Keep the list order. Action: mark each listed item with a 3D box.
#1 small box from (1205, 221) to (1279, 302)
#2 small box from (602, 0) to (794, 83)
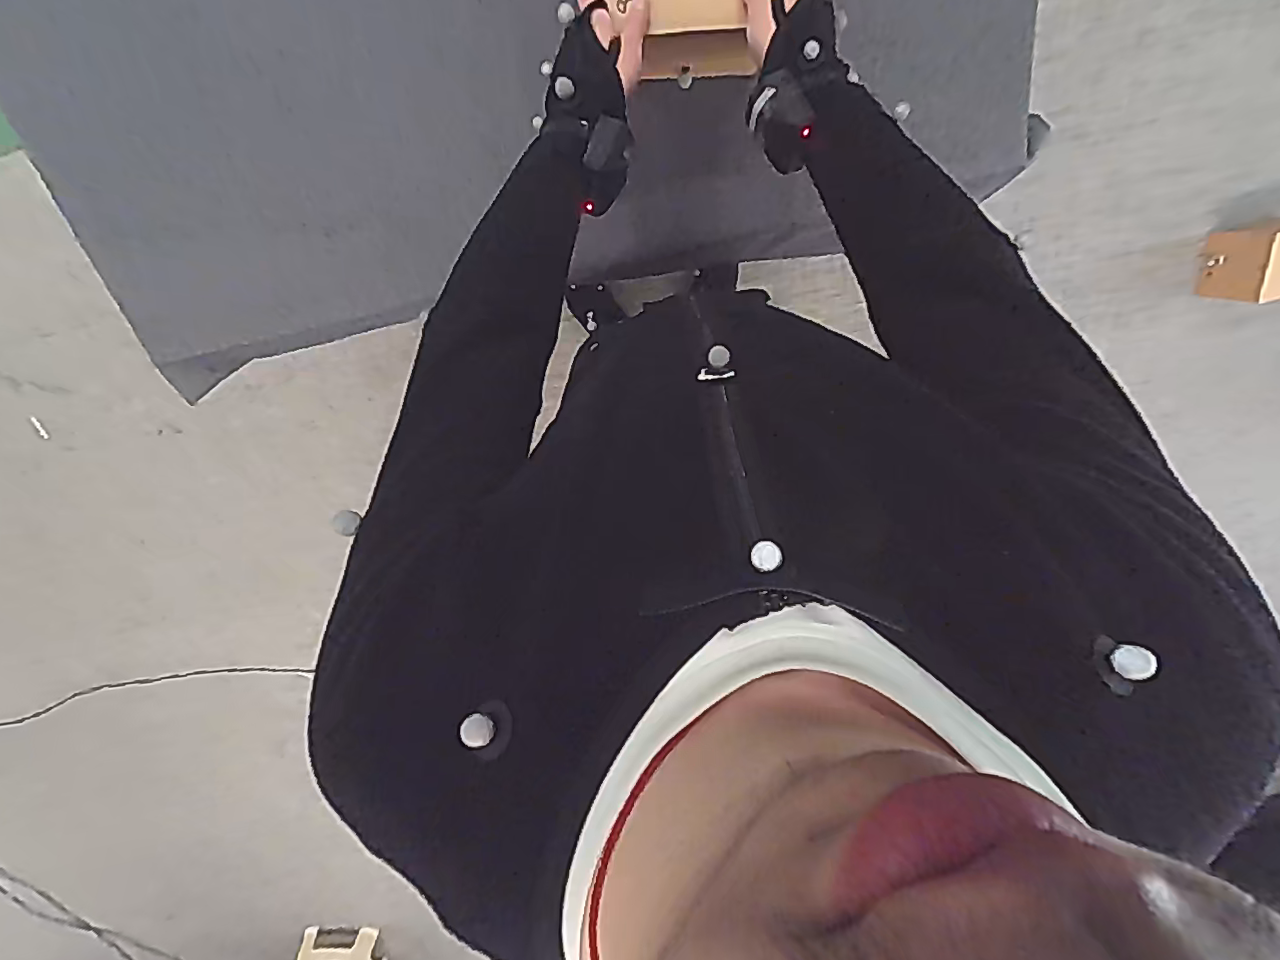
[{"bbox_3d":[1.588,-0.548,1.340,0.179,0.176,0.168,-9,113,3],"label":"small box"},{"bbox_3d":[0.048,-0.515,0.538,0.179,0.176,0.168,-3,115,0],"label":"small box"}]
